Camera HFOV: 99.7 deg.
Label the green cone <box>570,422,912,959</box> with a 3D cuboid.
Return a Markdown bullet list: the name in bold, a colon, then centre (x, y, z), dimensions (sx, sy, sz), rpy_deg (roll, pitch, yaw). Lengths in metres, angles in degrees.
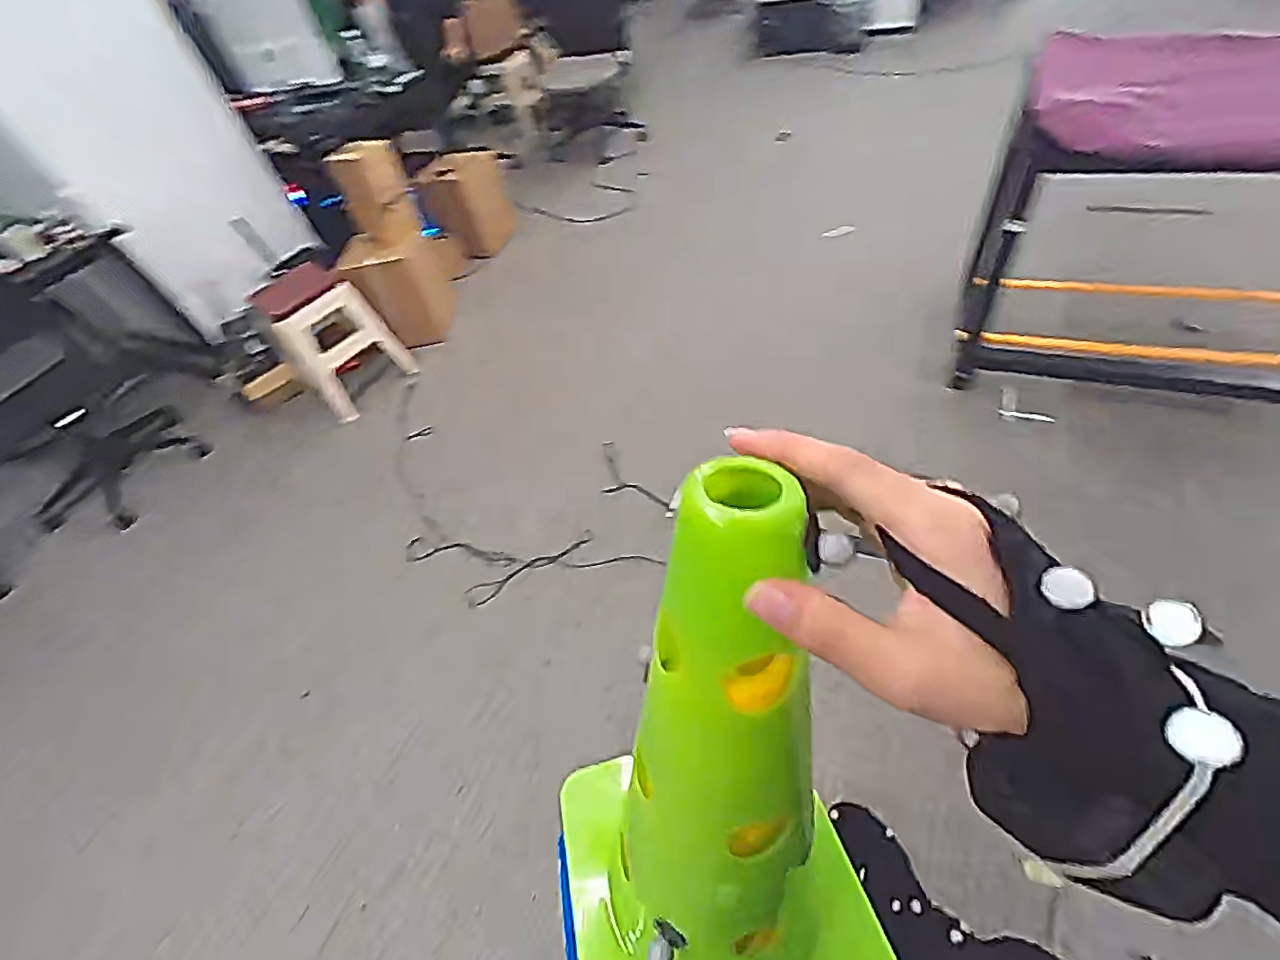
- **green cone**: centre (0.048, 0.131, 0.279), dimensions (0.200, 0.368, 0.202), rpy_deg (-10, 39, -9)
